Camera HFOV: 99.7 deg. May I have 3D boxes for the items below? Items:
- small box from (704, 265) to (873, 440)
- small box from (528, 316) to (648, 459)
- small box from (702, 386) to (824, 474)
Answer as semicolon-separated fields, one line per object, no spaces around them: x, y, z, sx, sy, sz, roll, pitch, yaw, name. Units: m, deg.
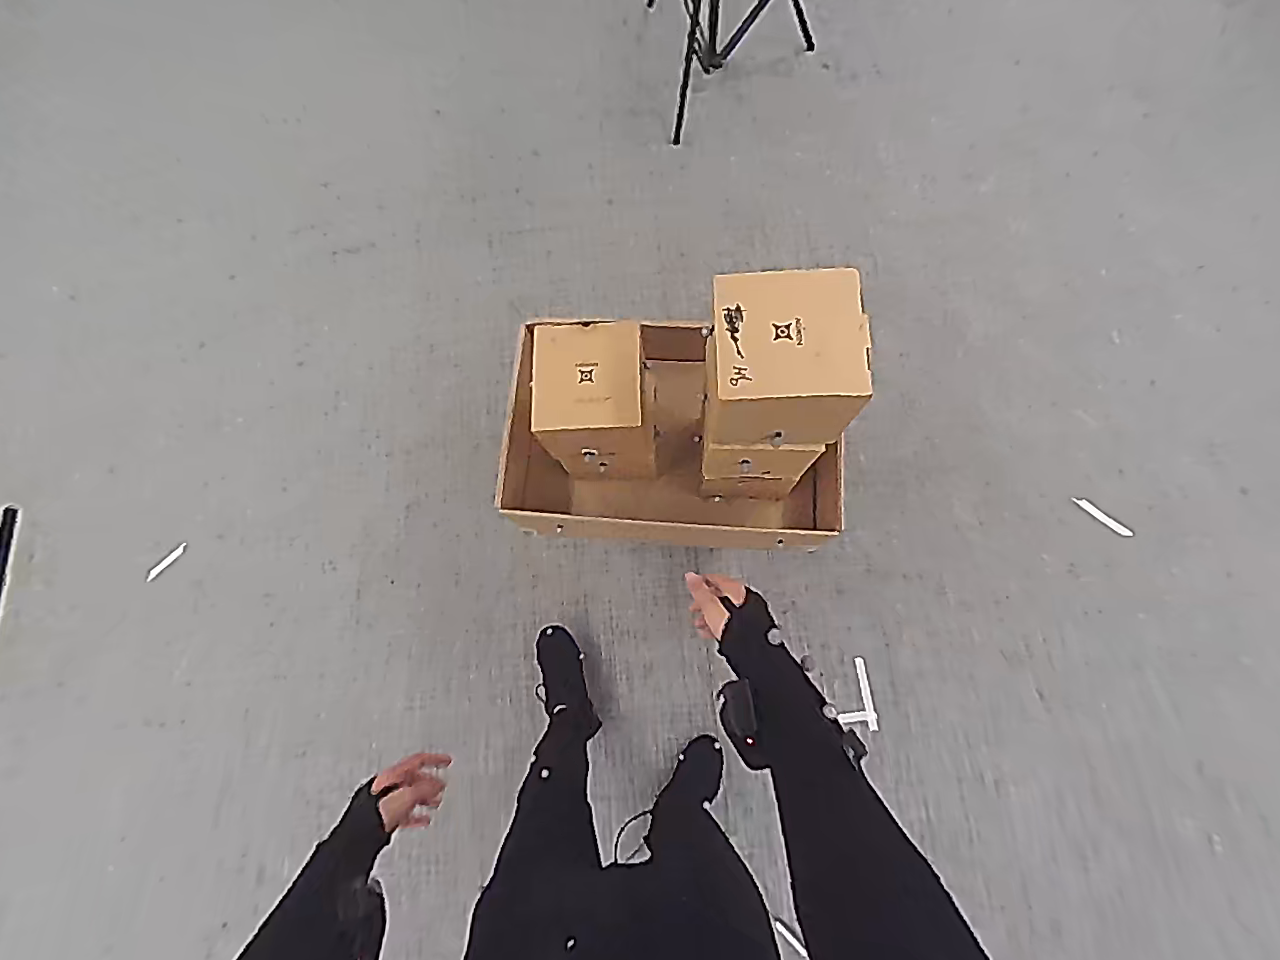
0.177;-0.155;0.699;0.179;0.176;0.168;-1;75;3;small box
-0.077;-0.143;0.880;0.168;0.176;0.179;-3;75;5;small box
0.186;-0.111;0.857;0.168;0.176;0.179;1;75;4;small box
